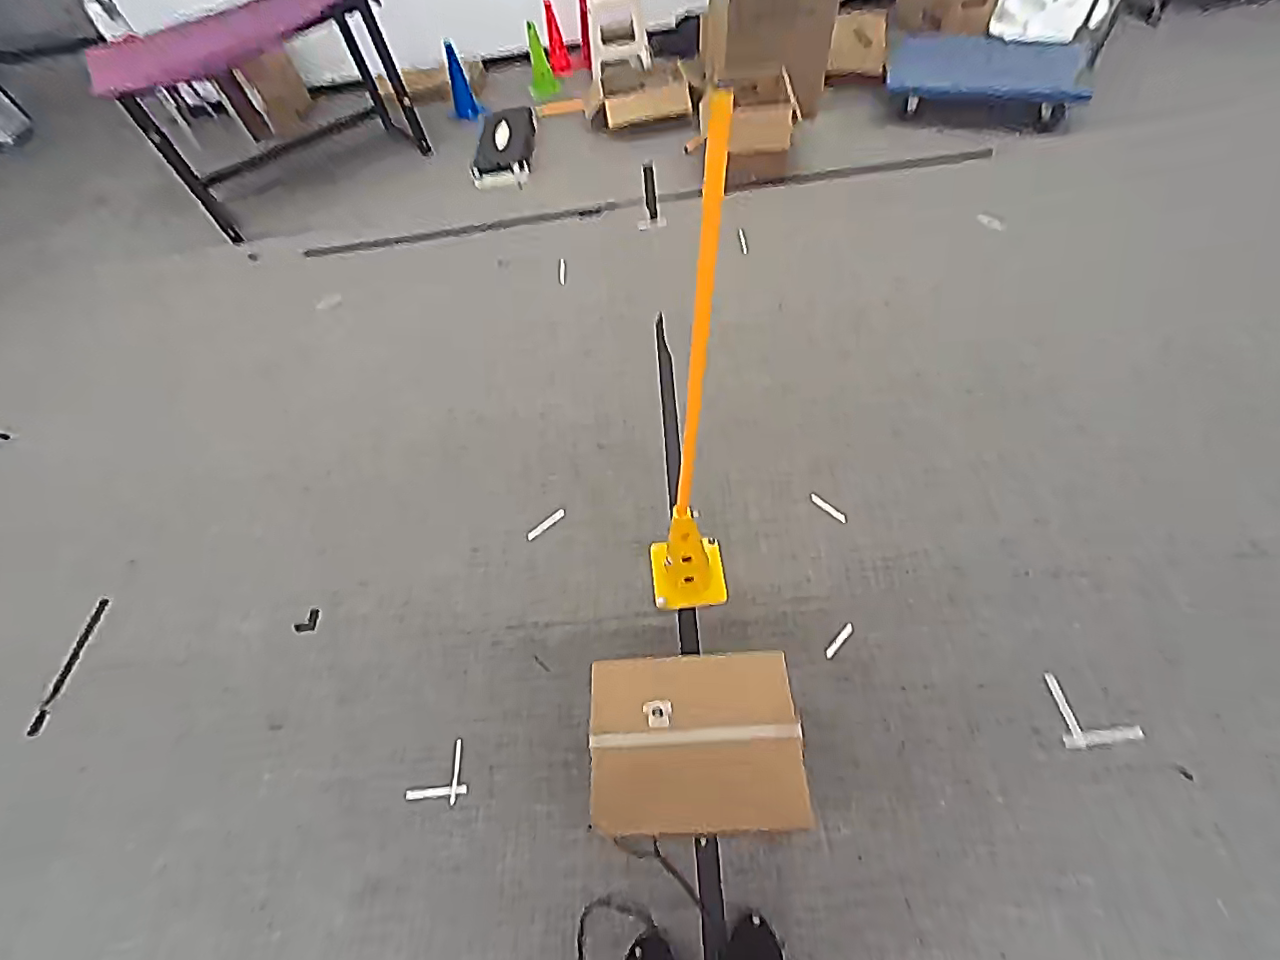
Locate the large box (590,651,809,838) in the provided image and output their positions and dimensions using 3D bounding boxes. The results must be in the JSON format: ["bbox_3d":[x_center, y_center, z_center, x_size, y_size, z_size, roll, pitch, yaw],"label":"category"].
[{"bbox_3d":[0.117,0.587,1.180,0.408,0.320,0.320,-6,54,4],"label":"large box"}]
